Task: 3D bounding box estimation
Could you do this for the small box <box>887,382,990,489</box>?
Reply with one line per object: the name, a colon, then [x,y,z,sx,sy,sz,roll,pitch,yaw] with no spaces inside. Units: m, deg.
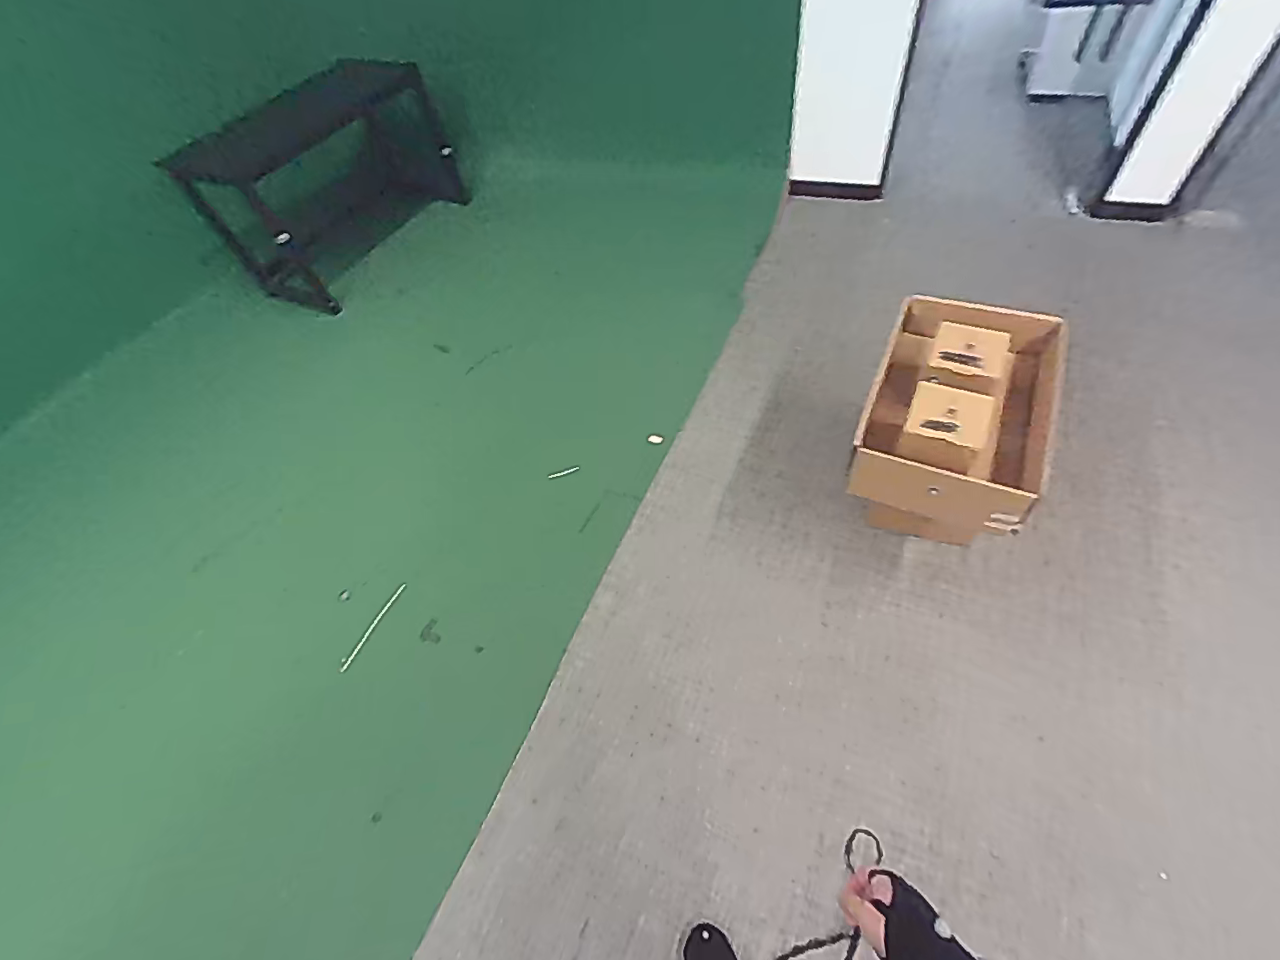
small box: [0.723,-0.105,1.324,0.168,0.176,0.179,20,59,21]
